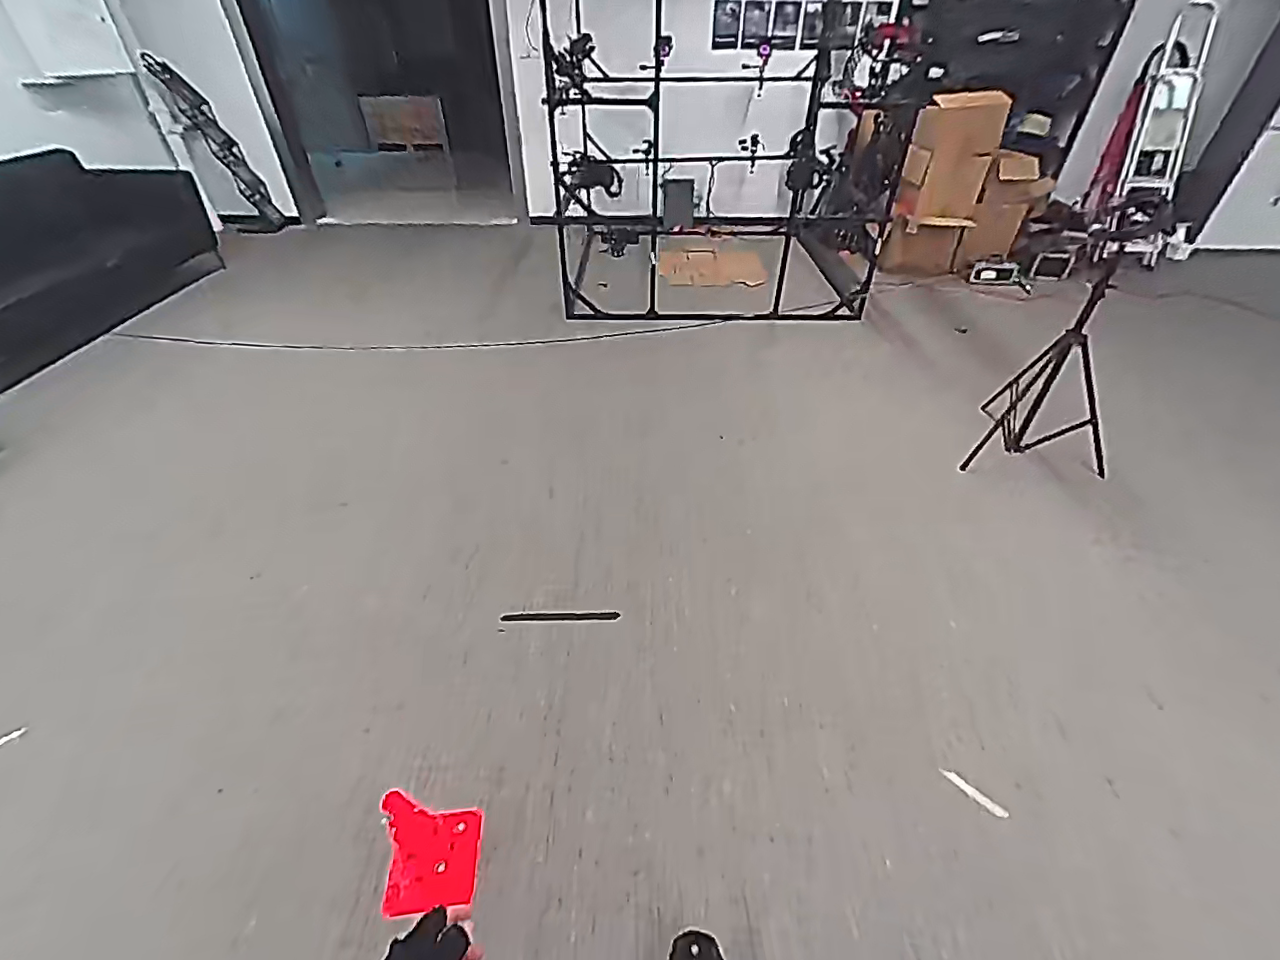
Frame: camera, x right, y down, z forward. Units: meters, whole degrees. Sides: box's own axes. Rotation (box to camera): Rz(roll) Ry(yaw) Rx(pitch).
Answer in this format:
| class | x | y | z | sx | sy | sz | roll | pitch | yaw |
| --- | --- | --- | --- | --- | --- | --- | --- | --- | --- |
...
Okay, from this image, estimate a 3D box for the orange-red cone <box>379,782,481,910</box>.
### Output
| class | x | y | z | sx | sy | sz | roll | pitch | yaw |
| --- | --- | --- | --- | --- | --- | --- | --- | --- | --- |
| orange-red cone | -0.483 | 0.737 | 1.145 | 0.199 | 0.360 | 0.198 | -3 | 39 | -2 |
